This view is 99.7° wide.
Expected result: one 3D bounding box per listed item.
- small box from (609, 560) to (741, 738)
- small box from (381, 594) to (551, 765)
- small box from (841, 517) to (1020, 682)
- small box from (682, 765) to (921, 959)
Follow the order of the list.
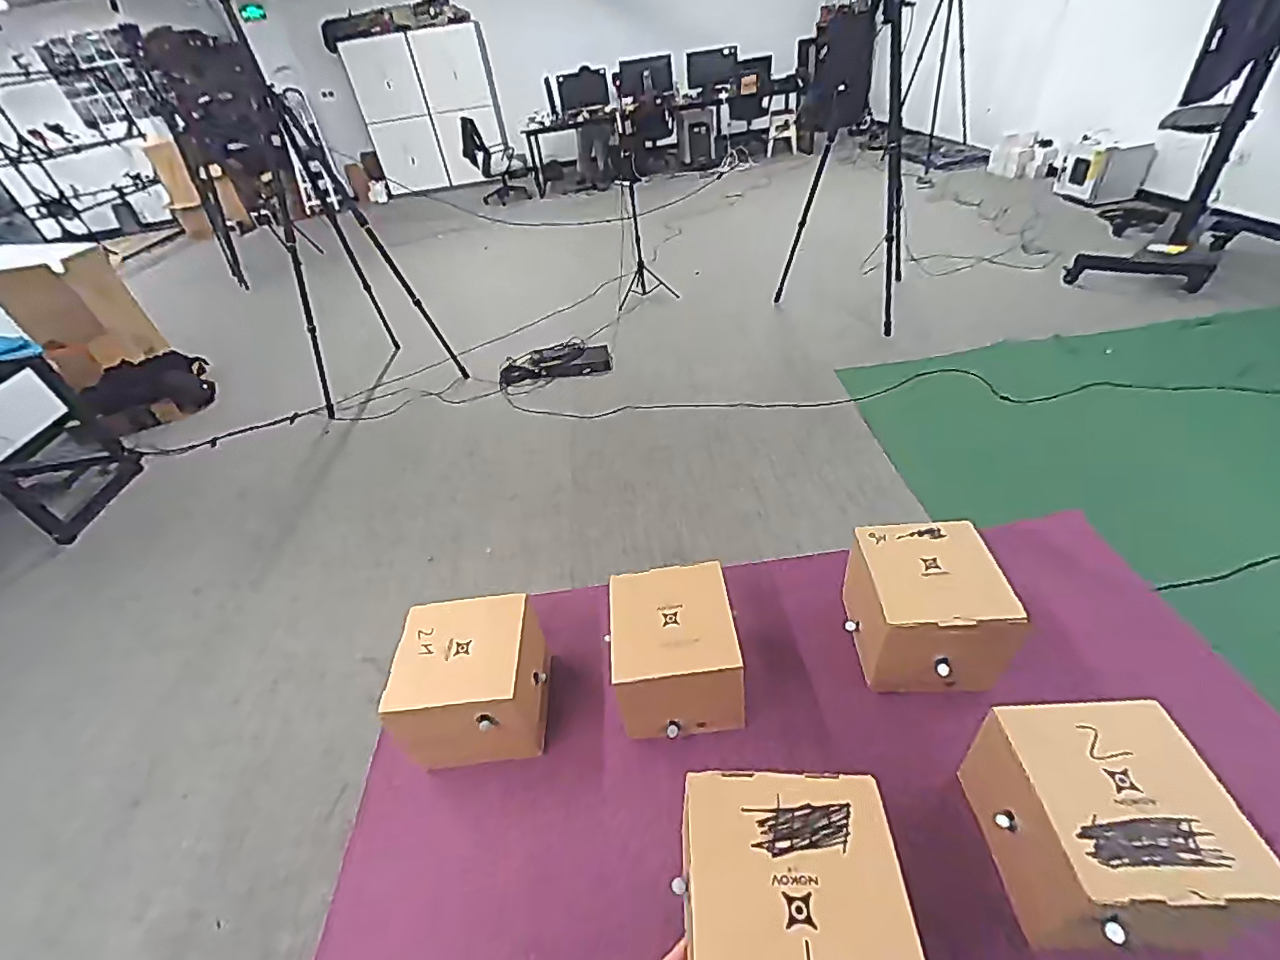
[{"bbox_3d":[0.050,0.243,0.784,0.168,0.176,0.179,-9,40,3],"label":"small box"},{"bbox_3d":[-0.234,0.290,0.786,0.179,0.176,0.168,-8,39,3],"label":"small box"},{"bbox_3d":[0.400,0.176,0.782,0.168,0.176,0.179,-4,41,7],"label":"small box"},{"bbox_3d":[0.121,0.370,0.466,0.168,0.176,0.179,-1,43,3],"label":"small box"}]
